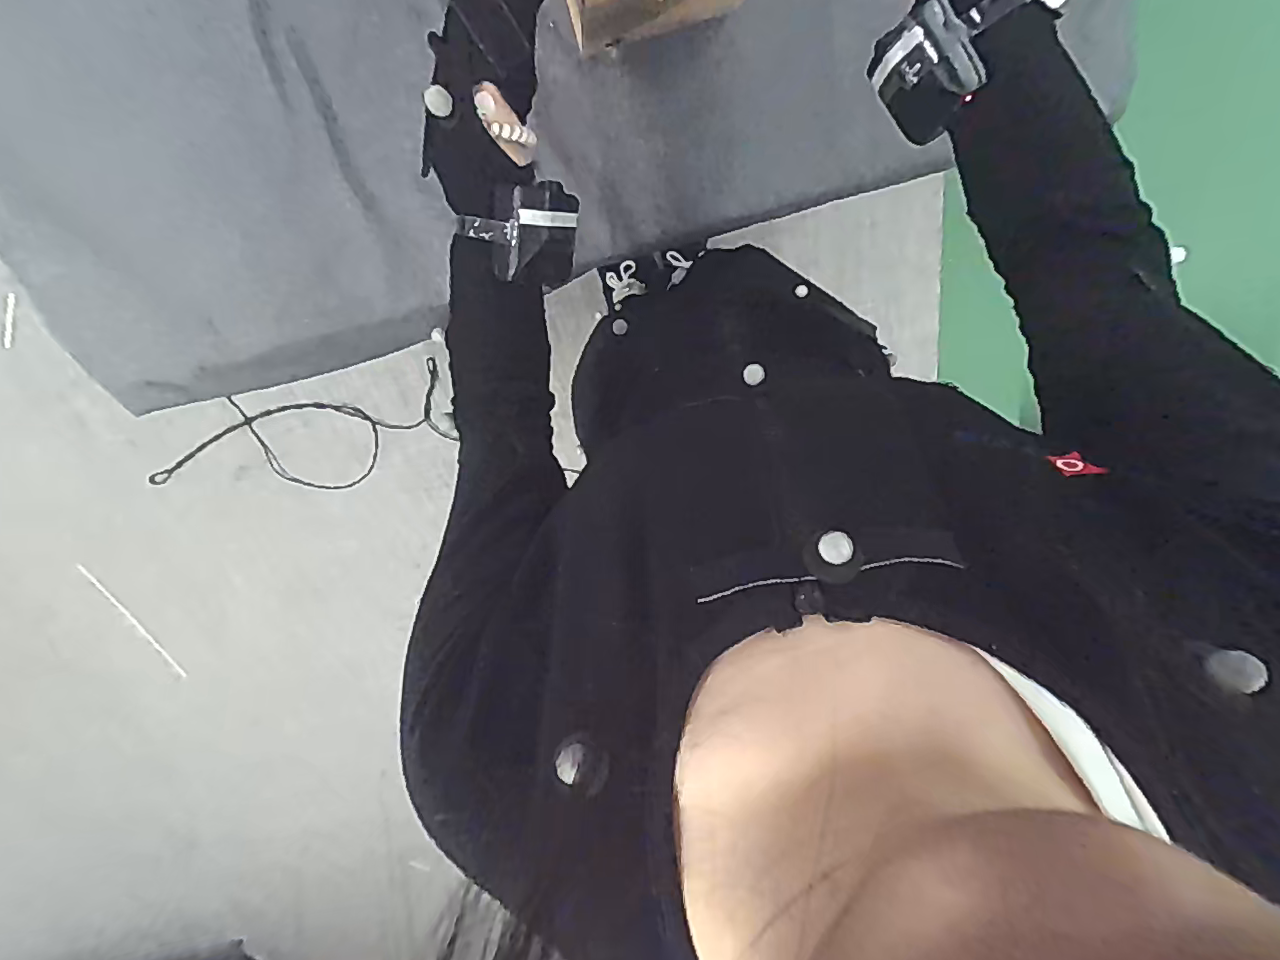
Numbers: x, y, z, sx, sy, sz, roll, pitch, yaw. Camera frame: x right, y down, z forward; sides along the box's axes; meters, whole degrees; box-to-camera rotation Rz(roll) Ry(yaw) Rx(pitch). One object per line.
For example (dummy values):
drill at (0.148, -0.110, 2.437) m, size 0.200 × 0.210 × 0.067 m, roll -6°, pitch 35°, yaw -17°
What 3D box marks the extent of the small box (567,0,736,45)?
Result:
small box at (0.005, -0.485, 0.433) m, size 0.168 × 0.176 × 0.179 m, roll -16°, pitch 116°, yaw 3°
